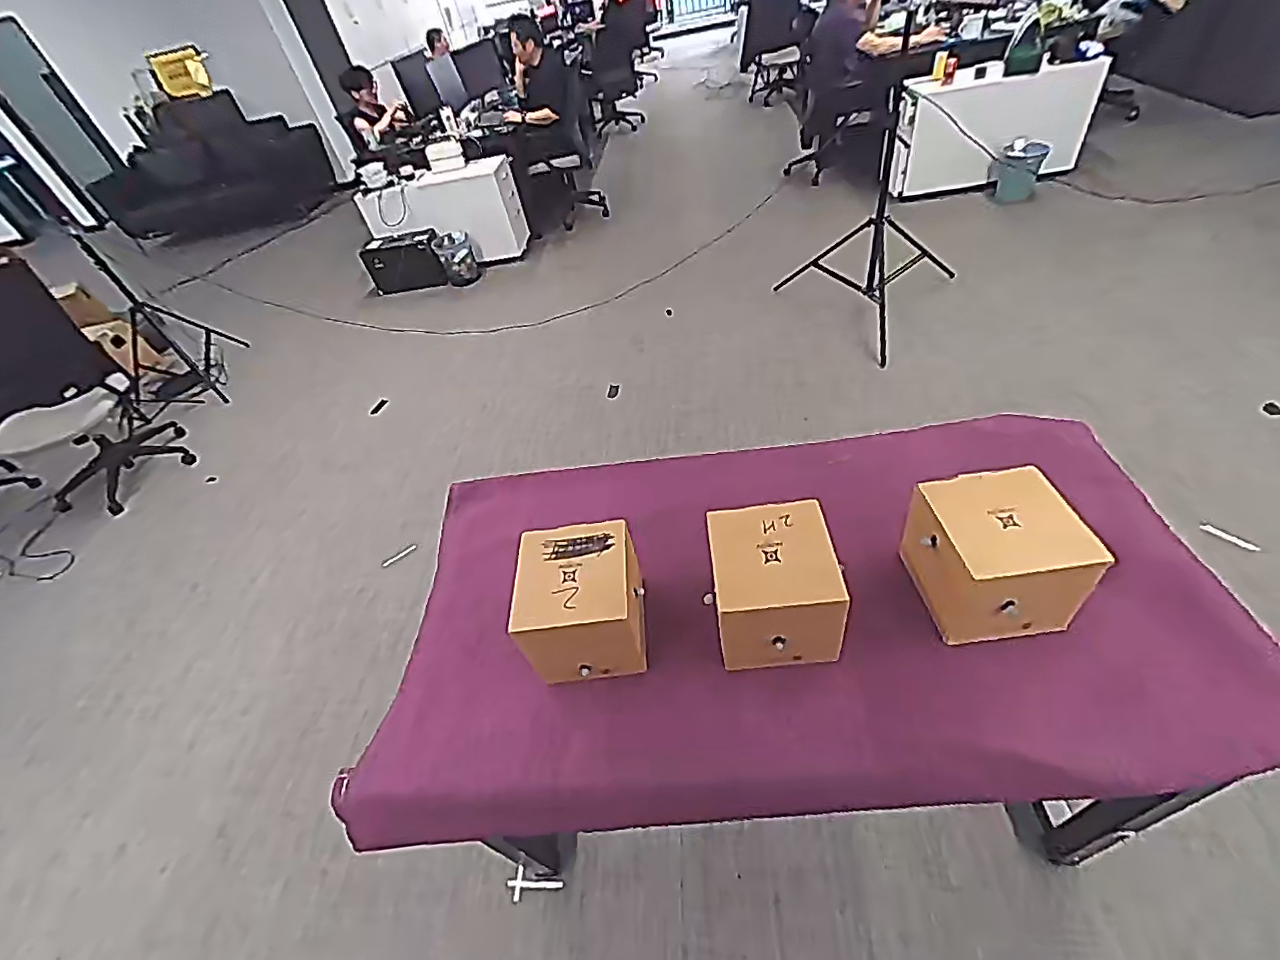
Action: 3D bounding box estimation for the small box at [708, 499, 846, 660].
[{"bbox_3d":[0.195,0.154,0.804,0.168,0.176,0.179,-6,44,6],"label":"small box"}]

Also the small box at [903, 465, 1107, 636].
[{"bbox_3d":[0.501,0.108,0.777,0.168,0.176,0.179,-10,43,5],"label":"small box"}]
